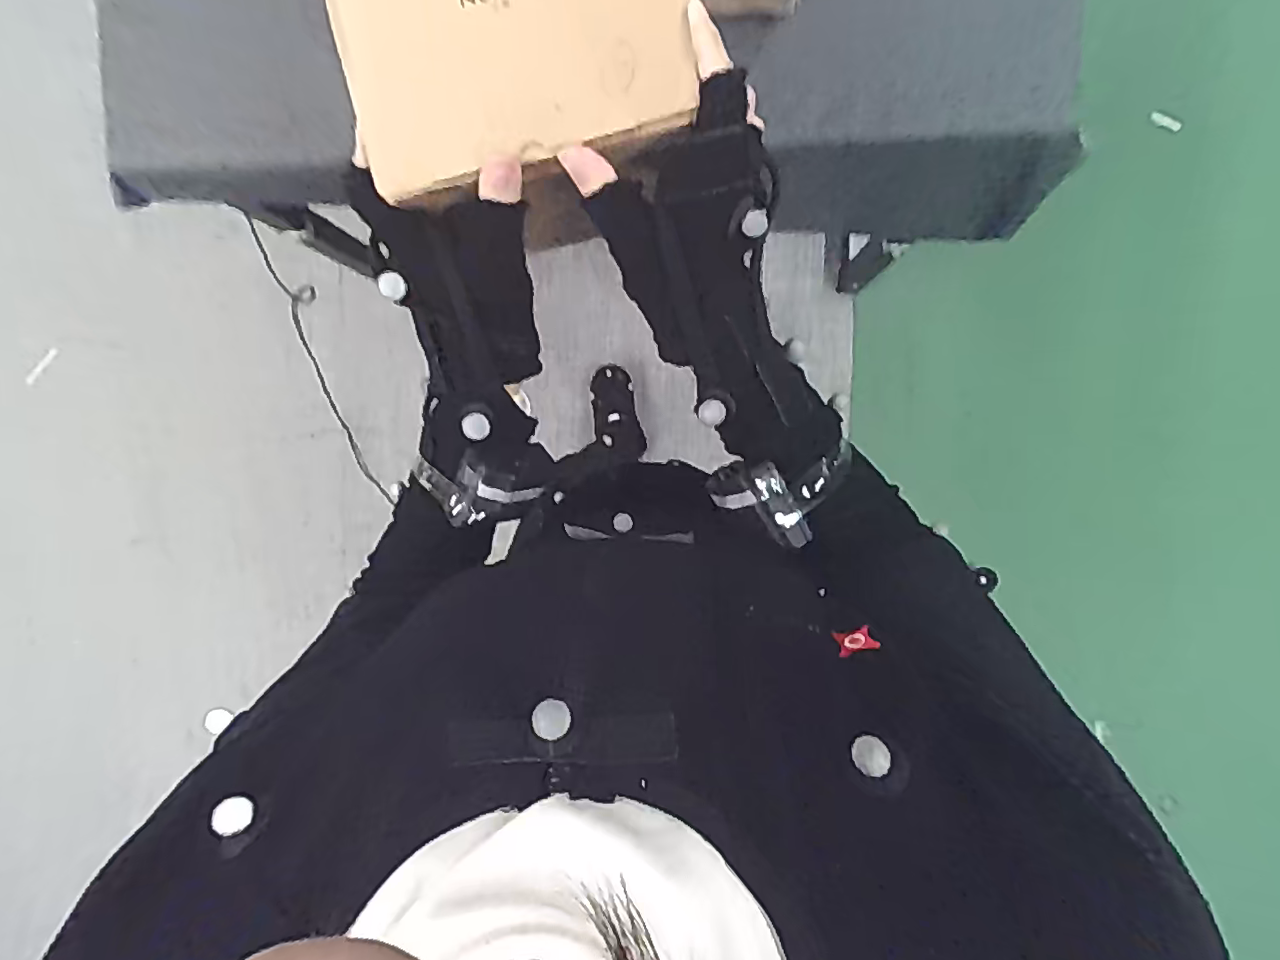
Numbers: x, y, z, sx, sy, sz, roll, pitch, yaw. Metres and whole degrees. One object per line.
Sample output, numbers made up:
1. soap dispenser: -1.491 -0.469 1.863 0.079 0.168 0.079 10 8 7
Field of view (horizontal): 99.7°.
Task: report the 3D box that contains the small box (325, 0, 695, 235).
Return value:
1. small box: -0.061 -0.262 0.323 0.168 0.176 0.179 -9 100 9
